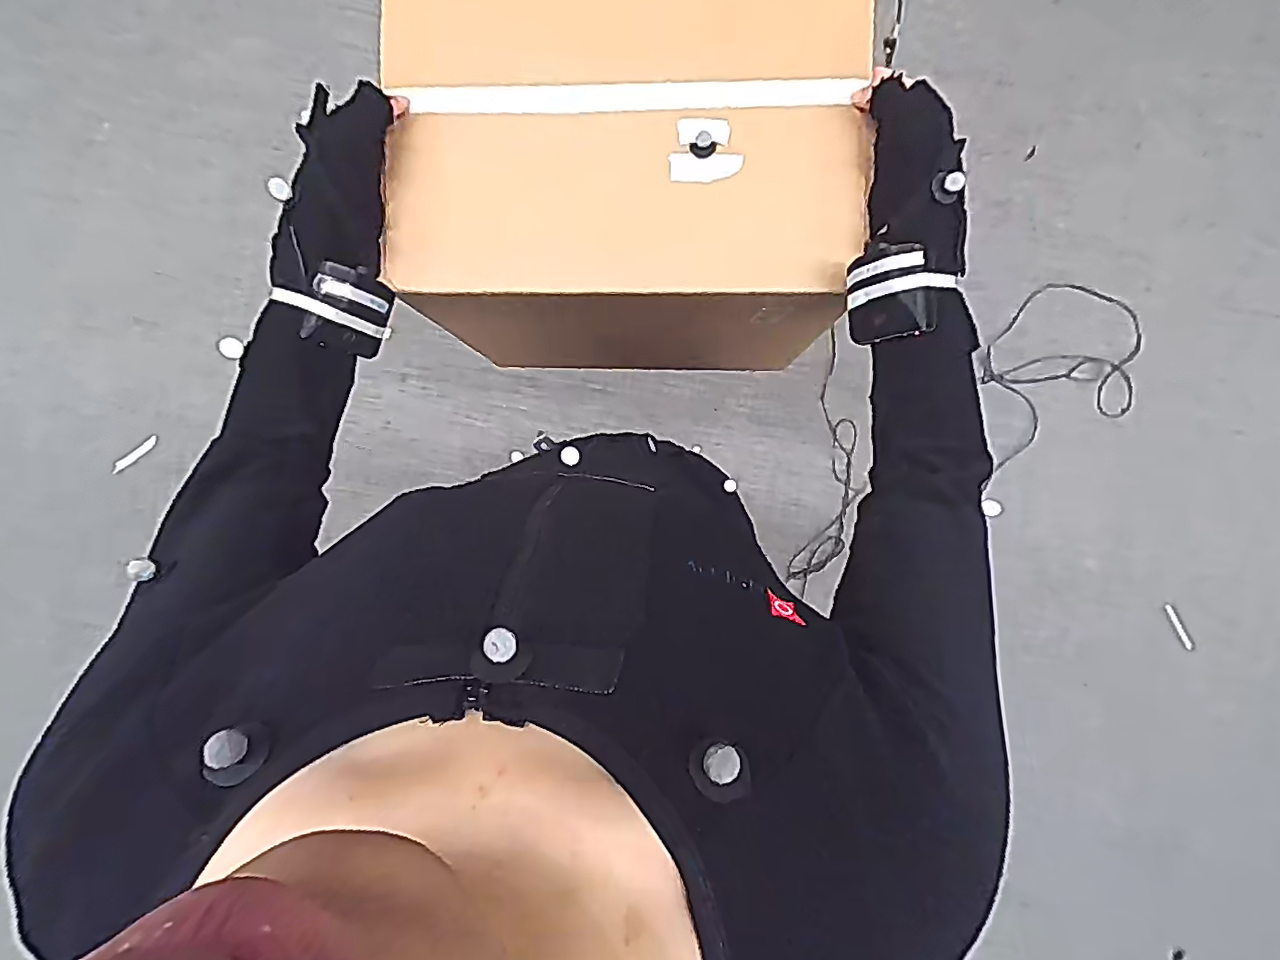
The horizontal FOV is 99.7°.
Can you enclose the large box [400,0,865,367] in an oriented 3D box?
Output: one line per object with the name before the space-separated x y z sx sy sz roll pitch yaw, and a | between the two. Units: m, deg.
large box | -0.006 -0.317 0.611 0.408 0.320 0.320 0 90 3
